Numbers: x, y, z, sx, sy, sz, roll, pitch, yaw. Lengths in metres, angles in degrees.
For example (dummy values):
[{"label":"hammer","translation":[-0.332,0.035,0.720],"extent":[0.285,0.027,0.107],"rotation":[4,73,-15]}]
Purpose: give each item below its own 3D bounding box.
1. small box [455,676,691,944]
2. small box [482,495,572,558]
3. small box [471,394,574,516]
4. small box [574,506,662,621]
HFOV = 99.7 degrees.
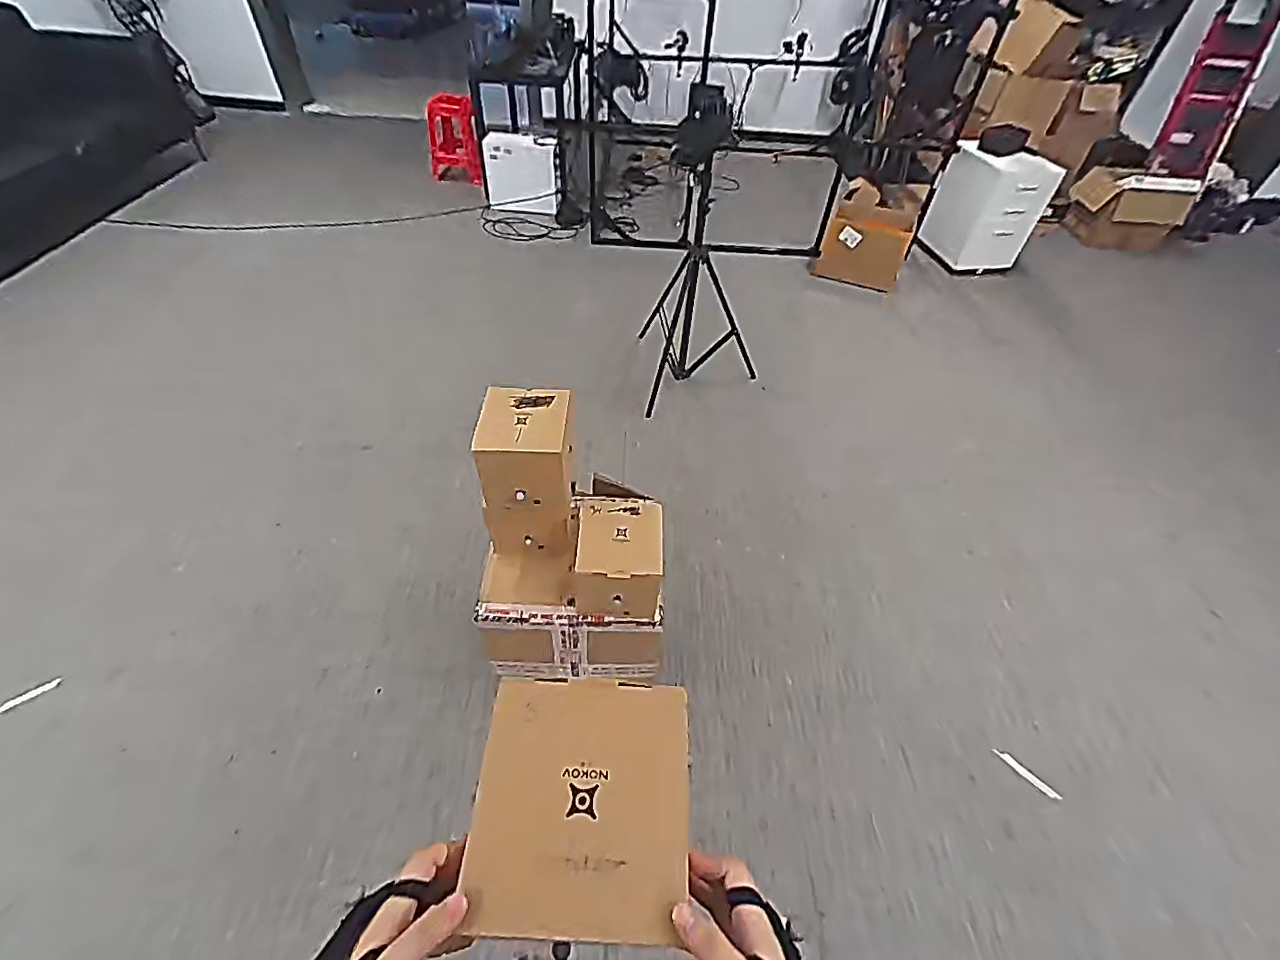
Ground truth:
[{"label":"small box","translation":[-0.047,0.293,0.483],"extent":[0.168,0.176,0.179],"rotation":[3,52,0]},{"label":"small box","translation":[-0.243,0.056,1.203],"extent":[0.168,0.176,0.179],"rotation":[-2,49,-3]},{"label":"small box","translation":[-0.223,-0.050,1.077],"extent":[0.168,0.176,0.179],"rotation":[1,49,-1]},{"label":"small box","translation":[-0.043,0.174,1.109],"extent":[0.168,0.176,0.179],"rotation":[3,49,-2]}]
